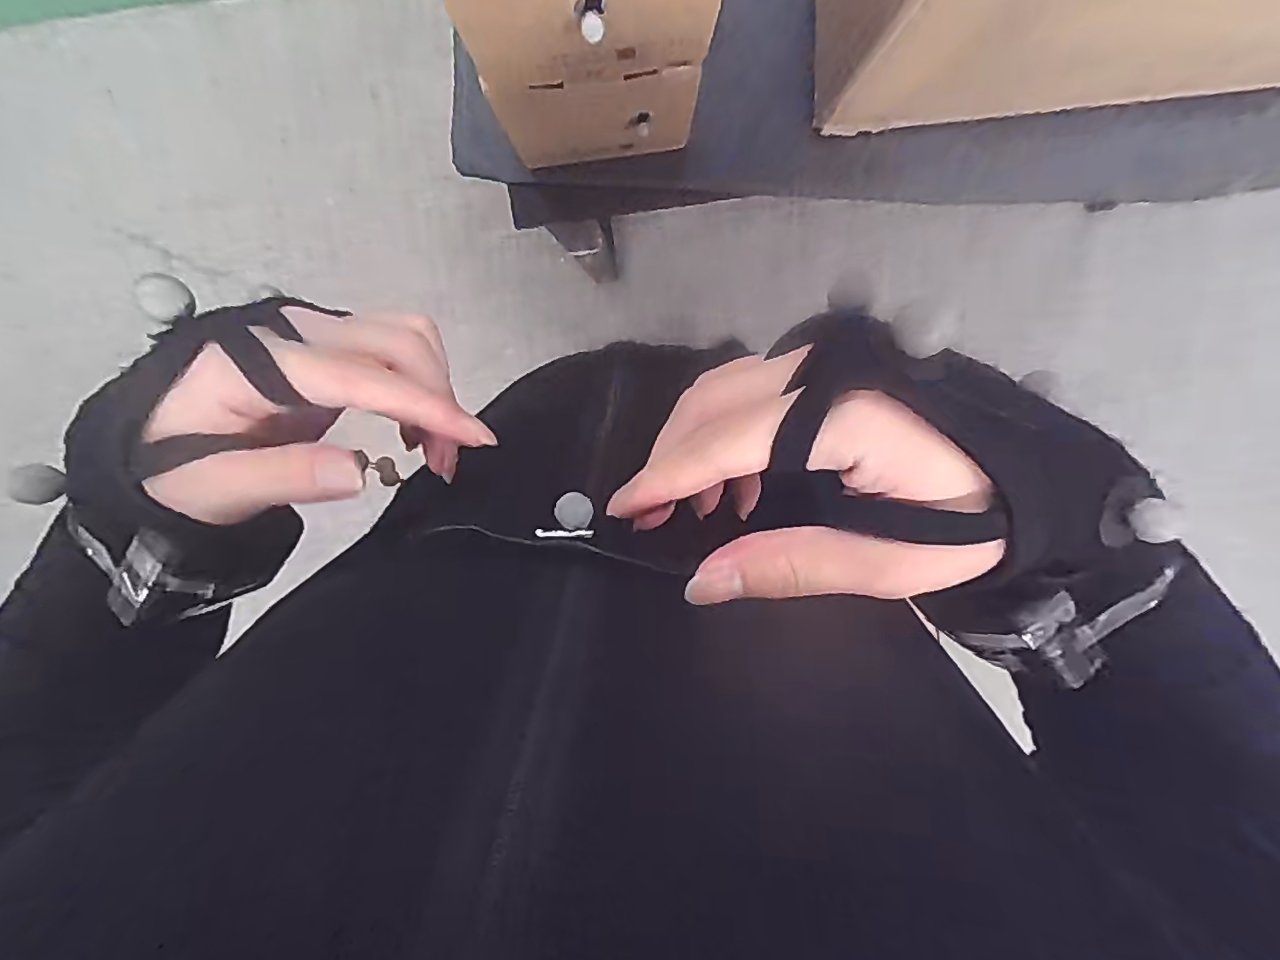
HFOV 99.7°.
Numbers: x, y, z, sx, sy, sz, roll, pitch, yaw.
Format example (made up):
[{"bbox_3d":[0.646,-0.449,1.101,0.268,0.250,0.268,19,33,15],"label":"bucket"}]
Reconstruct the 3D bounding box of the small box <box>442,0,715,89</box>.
[{"bbox_3d":[-0.040,-0.362,0.315,0.168,0.176,0.179,-7,103,0],"label":"small box"}]

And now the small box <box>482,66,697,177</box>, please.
[{"bbox_3d":[-0.047,-0.390,0.477,0.168,0.176,0.179,-9,100,0],"label":"small box"}]
